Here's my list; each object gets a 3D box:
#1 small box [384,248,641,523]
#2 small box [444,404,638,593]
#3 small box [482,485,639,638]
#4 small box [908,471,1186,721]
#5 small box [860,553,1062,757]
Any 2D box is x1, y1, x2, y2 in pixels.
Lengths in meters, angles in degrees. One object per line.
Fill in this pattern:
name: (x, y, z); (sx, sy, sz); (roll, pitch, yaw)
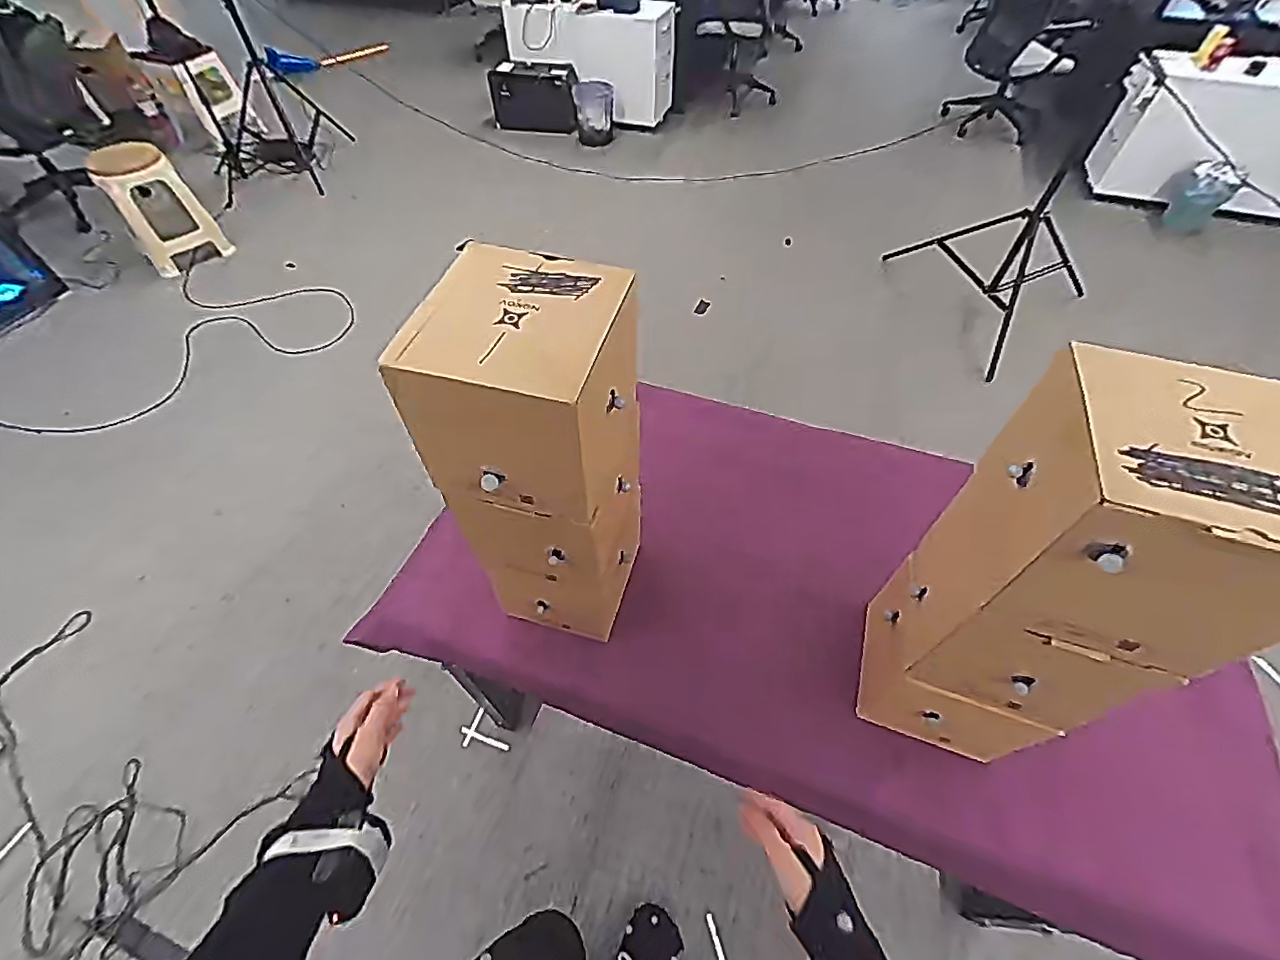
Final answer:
small box: (-0.101, -0.087, 0.517); (0.168, 0.176, 0.179); (12, 55, 8)
small box: (-0.101, 0.013, 0.648); (0.168, 0.176, 0.179); (12, 52, 8)
small box: (-0.101, 0.105, 0.781); (0.168, 0.176, 0.179); (13, 53, 9)
small box: (0.398, 0.125, 0.566); (0.168, 0.176, 0.179); (17, 54, 13)
small box: (0.396, 0.228, 0.694); (0.168, 0.176, 0.179); (16, 54, 12)
